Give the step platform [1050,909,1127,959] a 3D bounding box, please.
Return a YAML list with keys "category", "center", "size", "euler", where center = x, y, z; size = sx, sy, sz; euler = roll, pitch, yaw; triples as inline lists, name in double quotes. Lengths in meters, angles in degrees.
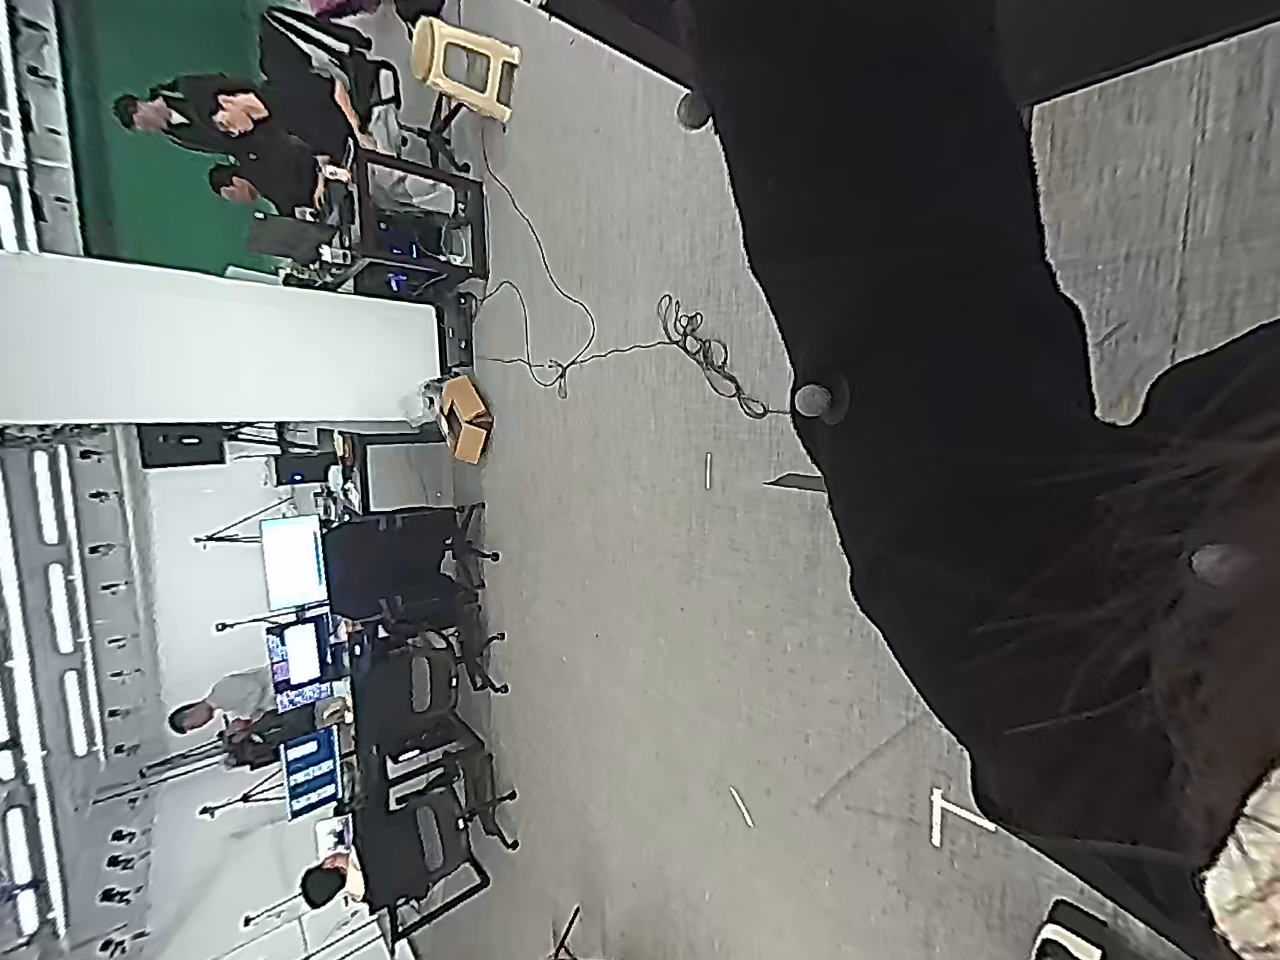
- category: "step platform"
  center: [1.167, 1.211, 1.007]
  size: [0.684, 0.204, 0.286]
  euler: [17, 107, 47]
